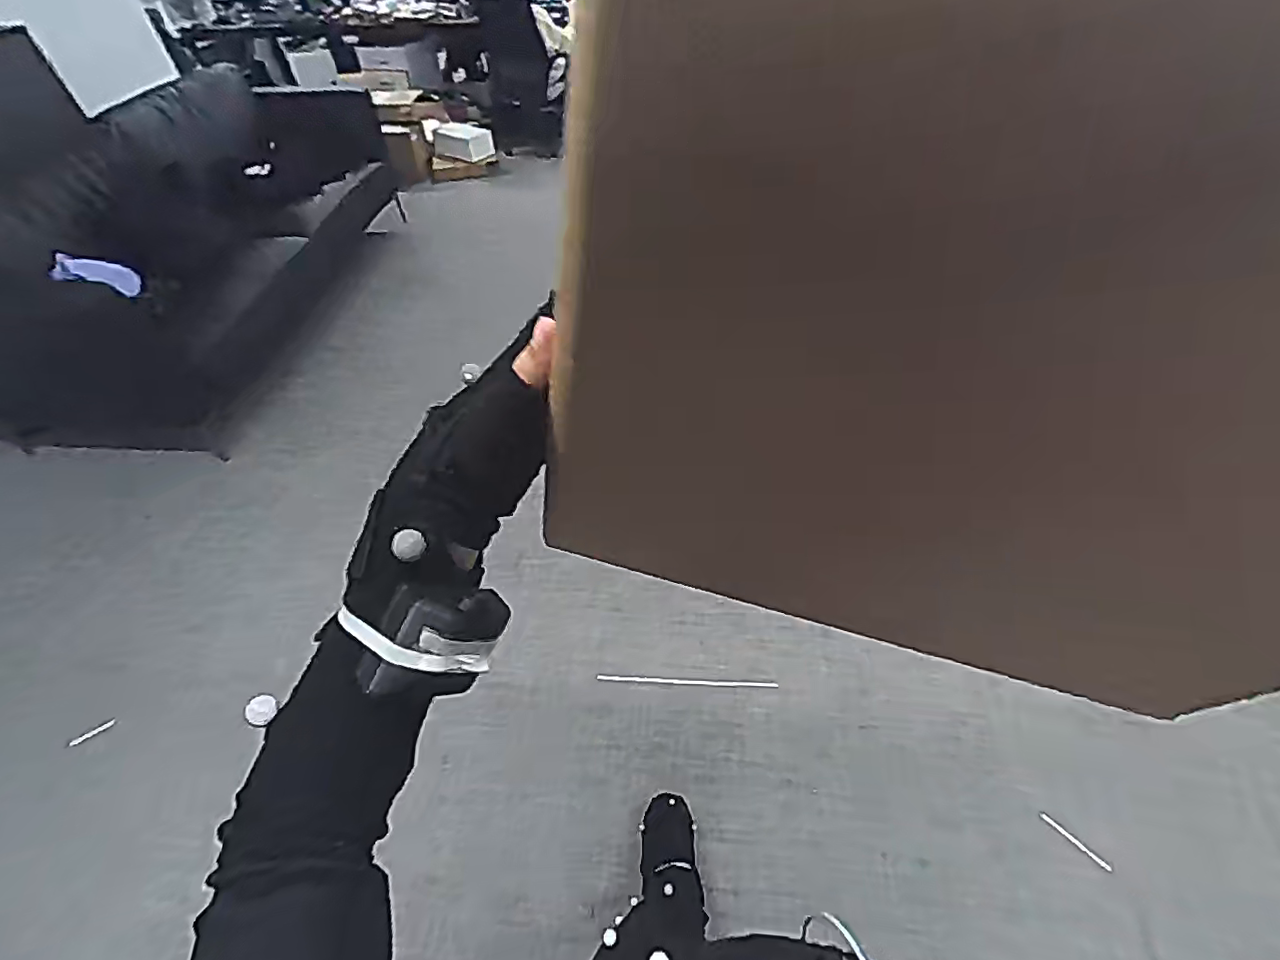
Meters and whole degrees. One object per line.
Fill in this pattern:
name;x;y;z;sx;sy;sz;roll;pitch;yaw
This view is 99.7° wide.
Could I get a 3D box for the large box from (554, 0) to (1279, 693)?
large box;0.190;-0.115;0.318;0.408;0.320;0.320;16;53;-1
